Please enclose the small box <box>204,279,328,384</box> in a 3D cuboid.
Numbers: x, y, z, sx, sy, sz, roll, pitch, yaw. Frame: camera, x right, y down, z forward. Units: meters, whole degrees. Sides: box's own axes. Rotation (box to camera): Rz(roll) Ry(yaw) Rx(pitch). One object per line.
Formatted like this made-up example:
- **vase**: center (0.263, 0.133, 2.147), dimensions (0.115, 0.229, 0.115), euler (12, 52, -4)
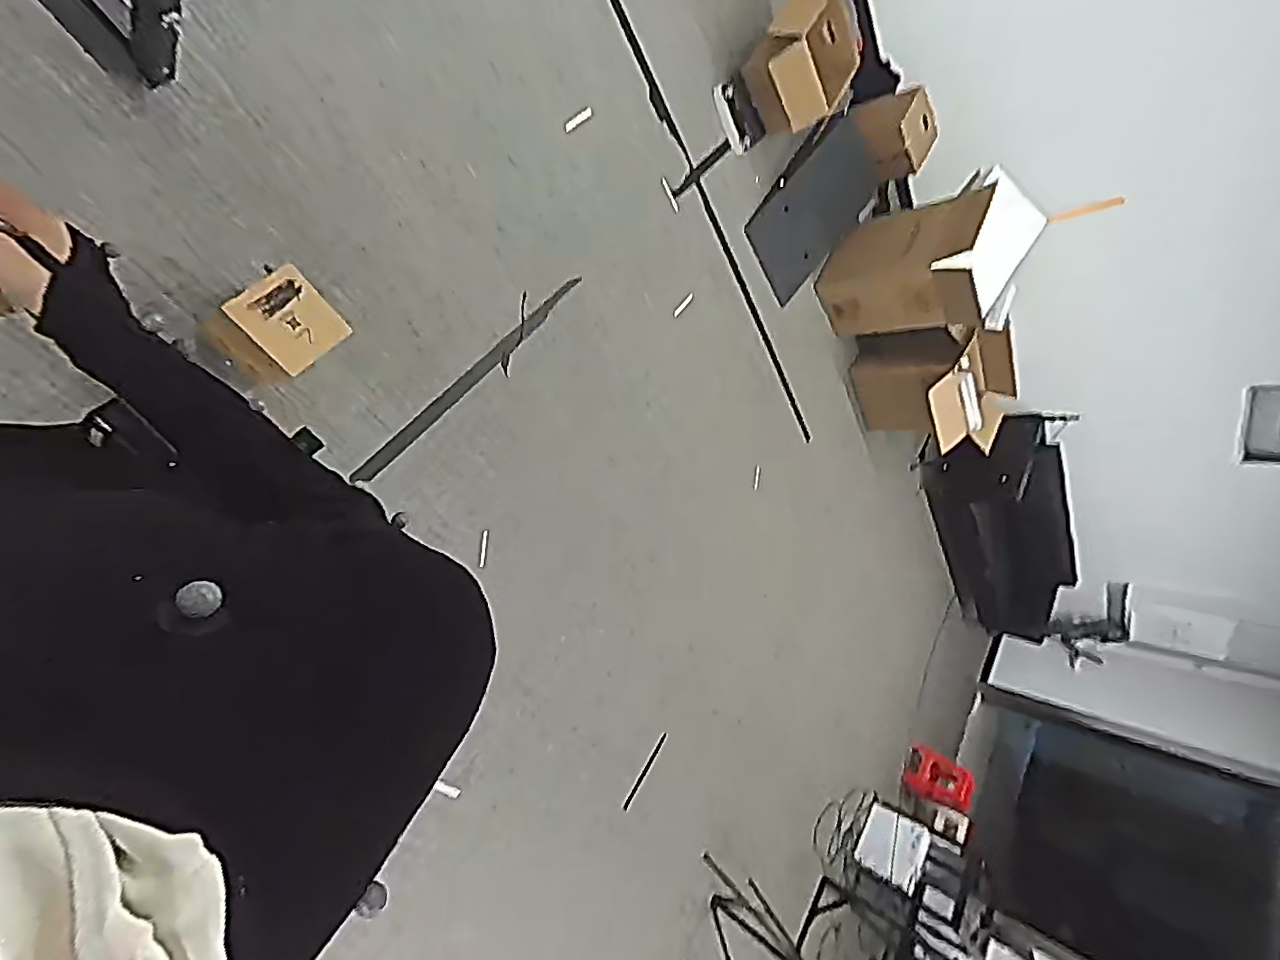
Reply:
- **small box**: center (-0.893, -0.347, 1.285), dimensions (0.179, 0.176, 0.168), euler (-54, 127, -24)
